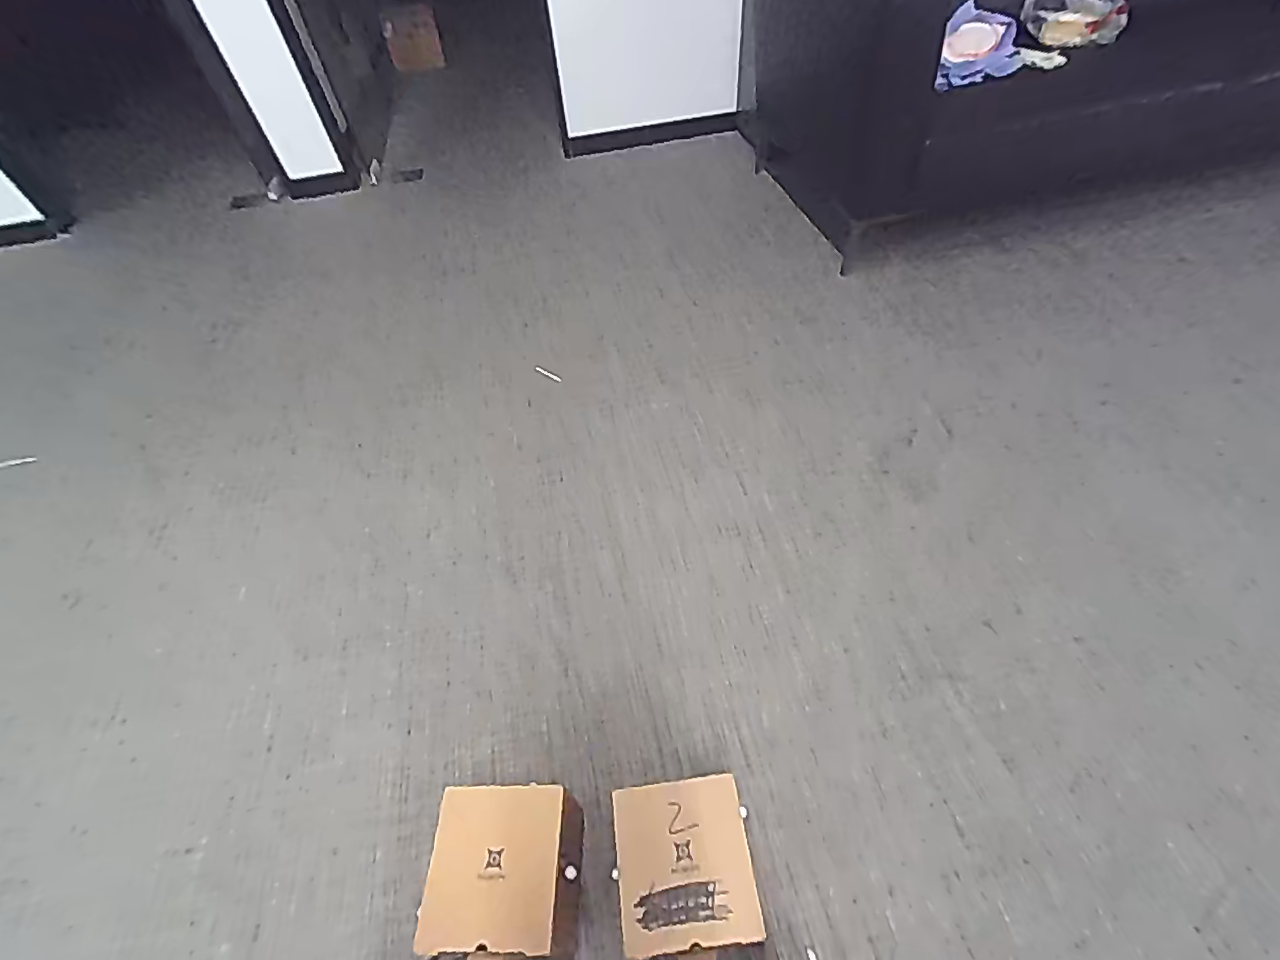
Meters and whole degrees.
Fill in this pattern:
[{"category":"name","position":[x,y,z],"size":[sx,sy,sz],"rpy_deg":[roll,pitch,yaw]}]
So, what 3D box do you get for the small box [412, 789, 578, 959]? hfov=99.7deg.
[{"category":"small box","position":[-0.182,0.540,0.743],"size":[0.168,0.176,0.179],"rpy_deg":[-2,52,3]}]
